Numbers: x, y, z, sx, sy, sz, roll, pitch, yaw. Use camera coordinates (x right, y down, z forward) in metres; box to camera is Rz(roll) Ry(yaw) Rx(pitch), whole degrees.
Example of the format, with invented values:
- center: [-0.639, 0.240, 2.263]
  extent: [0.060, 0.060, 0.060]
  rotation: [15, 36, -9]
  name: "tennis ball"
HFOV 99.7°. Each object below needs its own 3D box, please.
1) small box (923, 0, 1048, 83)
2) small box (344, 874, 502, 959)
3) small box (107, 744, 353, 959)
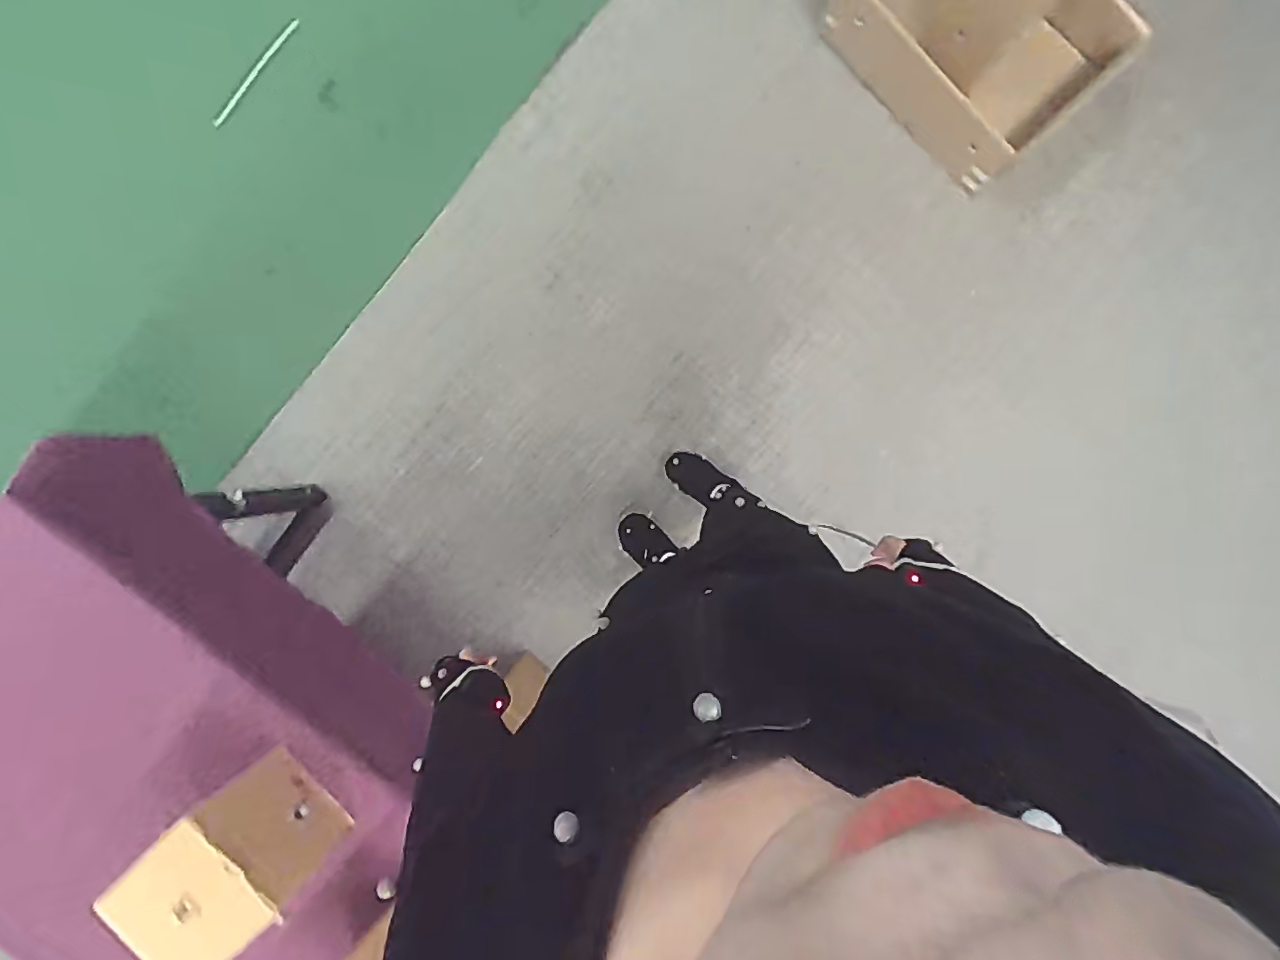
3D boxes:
- center: [0.816, -1.104, 1.278]
  extent: [0.168, 0.176, 0.179]
  rotation: [-44, 90, 5]
  name: "small box"
- center: [-0.320, 0.707, 0.746]
  extent: [0.179, 0.176, 0.168]
  rotation: [41, 94, 0]
  name: "small box"
- center: [-0.549, 0.517, 0.751]
  extent: [0.179, 0.176, 0.168]
  rotation: [-44, 90, 3]
  name: "small box"
